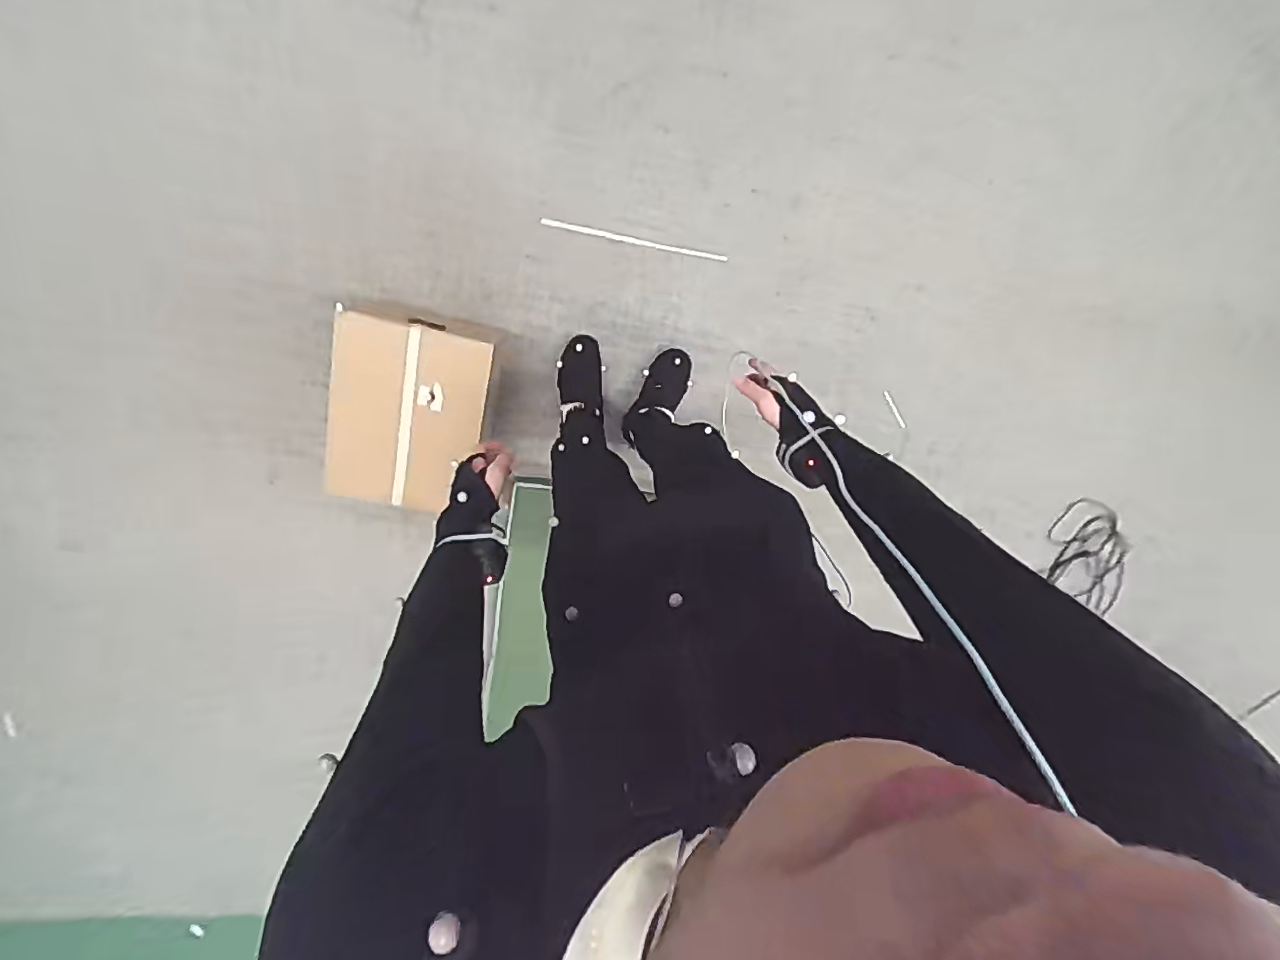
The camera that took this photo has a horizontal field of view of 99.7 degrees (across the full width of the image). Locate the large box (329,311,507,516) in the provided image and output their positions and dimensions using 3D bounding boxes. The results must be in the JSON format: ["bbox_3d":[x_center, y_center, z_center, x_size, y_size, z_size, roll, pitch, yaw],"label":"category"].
[{"bbox_3d":[-0.520,-0.169,1.313,0.320,0.320,0.408,10,107,-12],"label":"large box"}]
